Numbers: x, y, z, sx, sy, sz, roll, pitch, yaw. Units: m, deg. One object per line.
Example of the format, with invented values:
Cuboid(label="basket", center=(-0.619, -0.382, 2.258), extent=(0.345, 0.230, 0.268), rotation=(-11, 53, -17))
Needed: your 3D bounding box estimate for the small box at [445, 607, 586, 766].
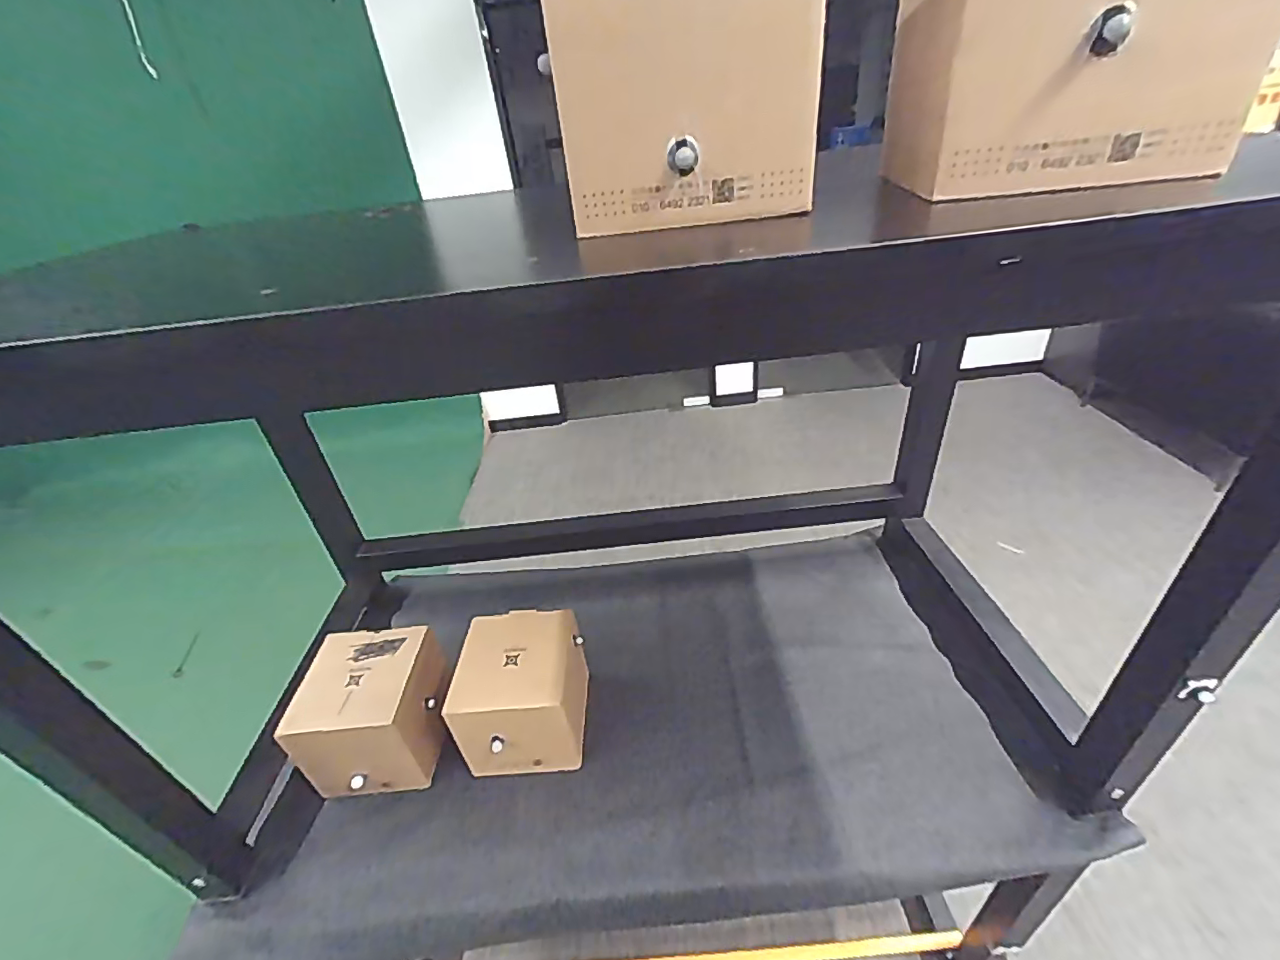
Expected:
Cuboid(label="small box", center=(-0.181, 0.328, 0.850), extent=(0.168, 0.176, 0.179), rotation=(-5, 33, 2))

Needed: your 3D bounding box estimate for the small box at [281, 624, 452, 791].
Cuboid(label="small box", center=(-0.407, 0.353, 0.848), extent=(0.168, 0.176, 0.179), rotation=(-6, 34, 1))
